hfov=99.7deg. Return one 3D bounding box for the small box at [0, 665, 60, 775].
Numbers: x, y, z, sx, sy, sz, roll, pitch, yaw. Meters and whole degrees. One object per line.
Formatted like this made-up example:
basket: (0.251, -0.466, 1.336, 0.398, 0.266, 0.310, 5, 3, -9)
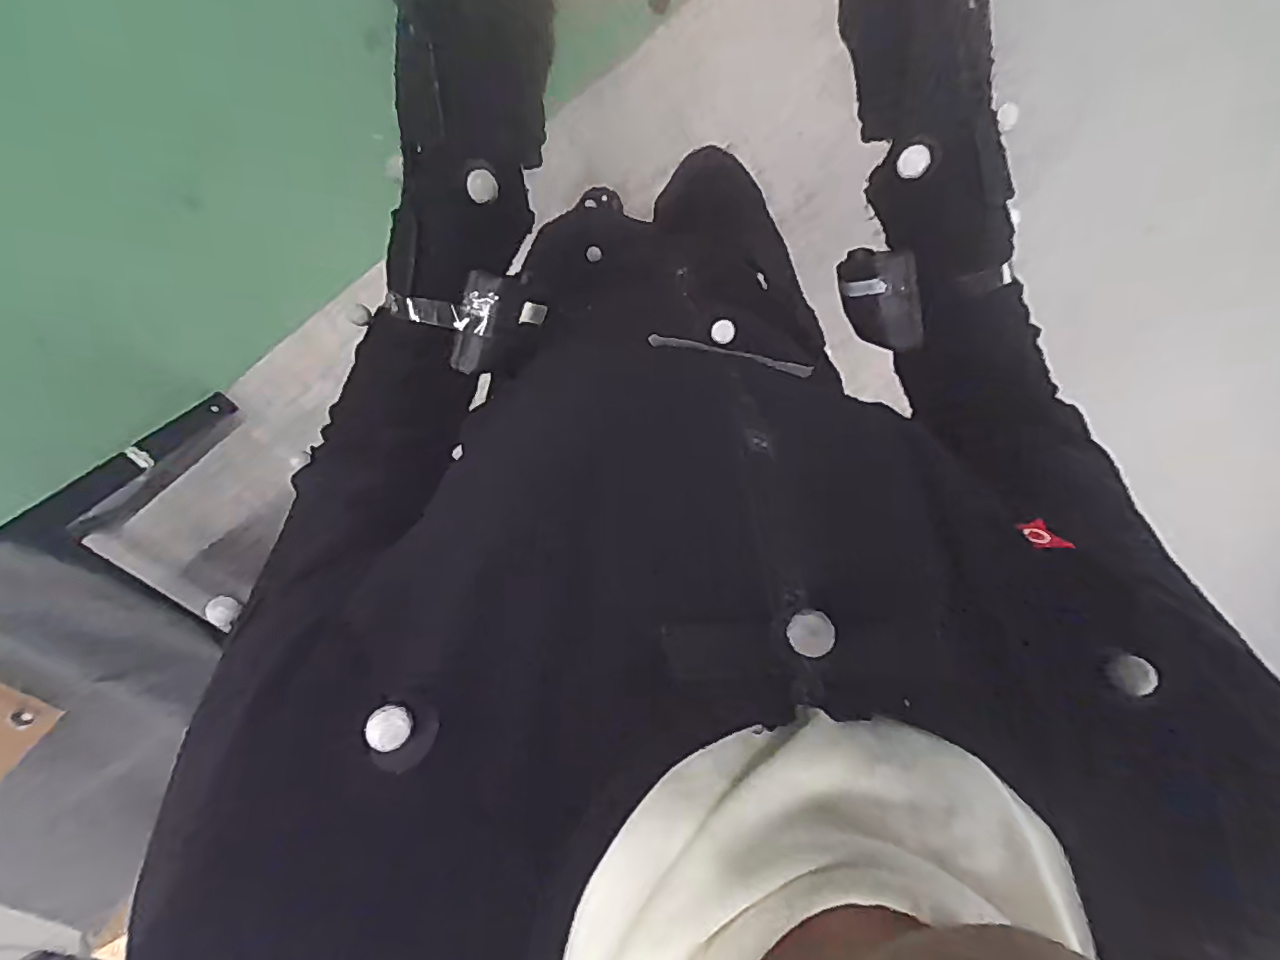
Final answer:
small box: (-0.930, 0.343, 0.696, 0.179, 0.176, 0.168, -31, 119, 13)
